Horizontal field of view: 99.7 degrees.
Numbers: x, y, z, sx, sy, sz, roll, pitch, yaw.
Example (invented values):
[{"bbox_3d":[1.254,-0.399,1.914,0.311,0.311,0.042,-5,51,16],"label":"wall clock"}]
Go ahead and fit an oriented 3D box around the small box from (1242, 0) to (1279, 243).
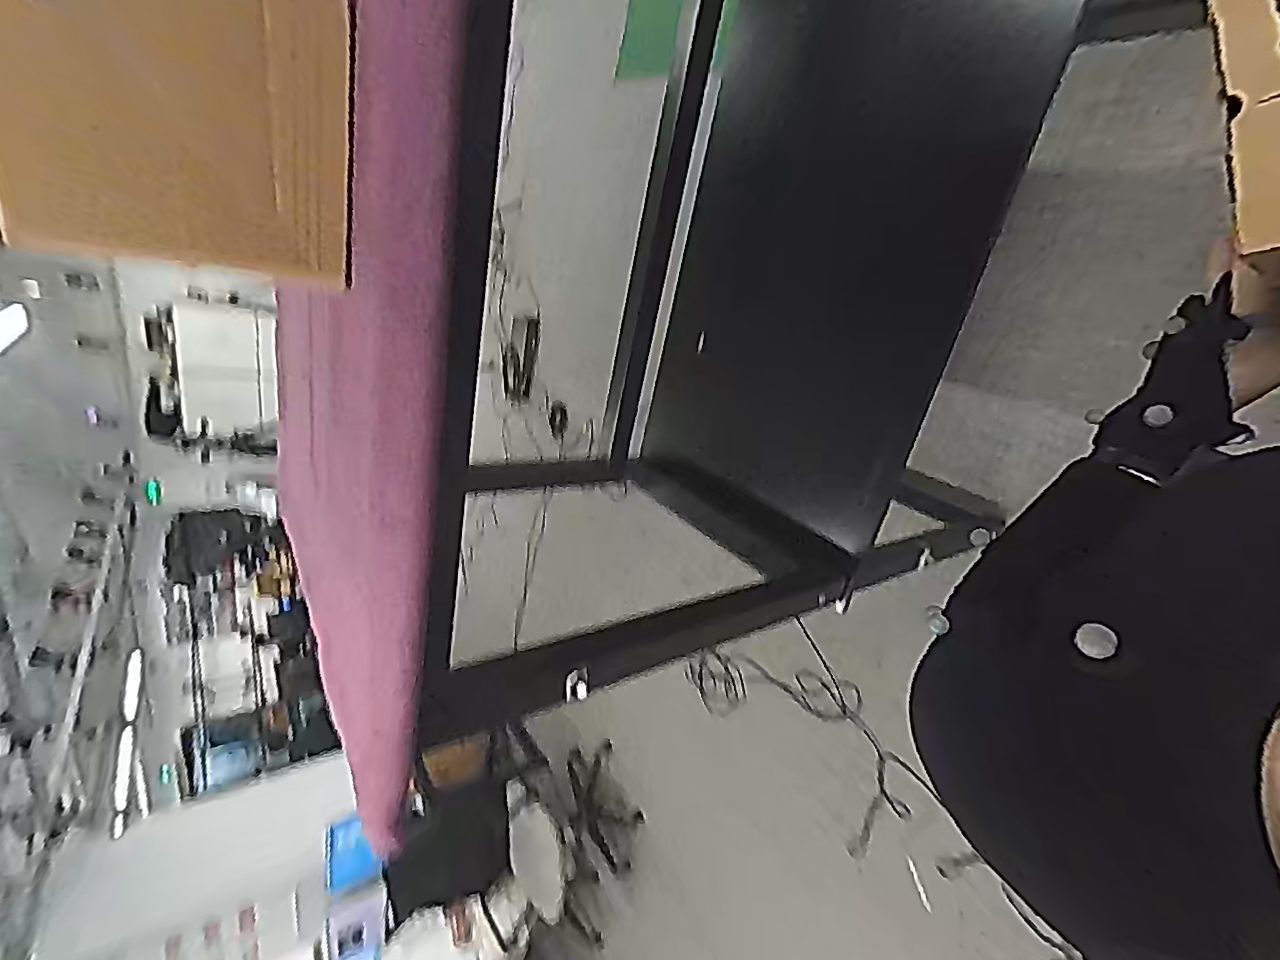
[{"bbox_3d":[0.440,-0.209,0.257,0.179,0.176,0.168,-6,88,57],"label":"small box"}]
